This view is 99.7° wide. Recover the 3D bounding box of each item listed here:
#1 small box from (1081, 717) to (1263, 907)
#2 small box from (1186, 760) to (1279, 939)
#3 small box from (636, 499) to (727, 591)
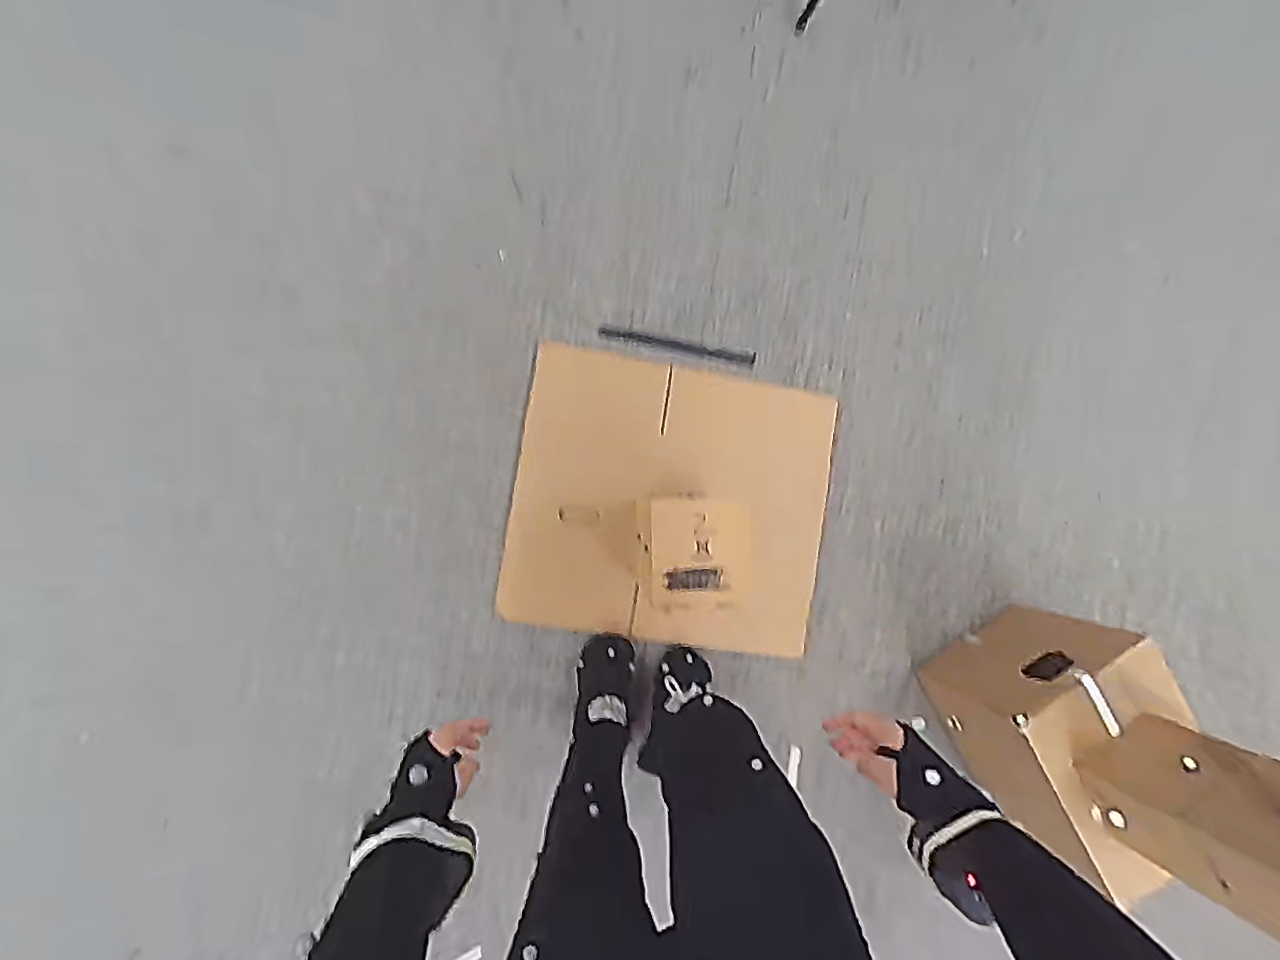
[{"bbox_3d":[0.897,0.529,0.893,0.179,0.176,0.168,-30,91,-6],"label":"small box"},{"bbox_3d":[0.918,0.522,0.730,0.179,0.176,0.168,-30,91,-7],"label":"small box"},{"bbox_3d":[0.079,0.129,1.116,0.168,0.176,0.179,1,88,-4],"label":"small box"}]
